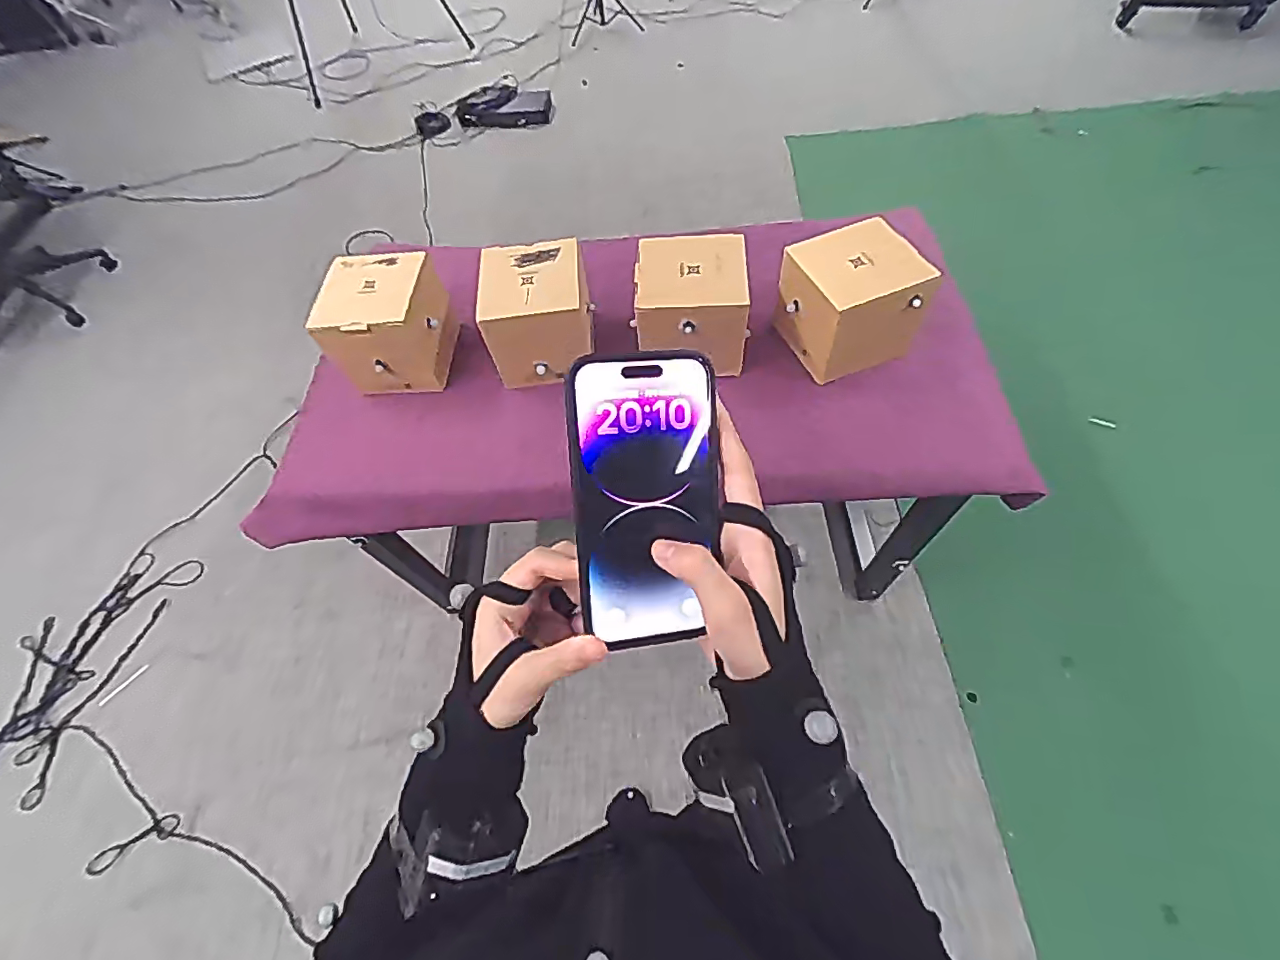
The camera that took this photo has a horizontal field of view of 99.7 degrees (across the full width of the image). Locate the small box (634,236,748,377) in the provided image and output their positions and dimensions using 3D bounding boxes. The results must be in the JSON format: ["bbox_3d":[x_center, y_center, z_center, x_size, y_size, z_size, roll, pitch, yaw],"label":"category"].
[{"bbox_3d":[0.089,-0.290,0.924,0.179,0.176,0.168,0,60,6],"label":"small box"}]

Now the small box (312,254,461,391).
[{"bbox_3d":[-0.437,-0.272,0.966,0.168,0.176,0.179,-2,60,4],"label":"small box"}]

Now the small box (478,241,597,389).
[{"bbox_3d":[-0.170,-0.285,0.947,0.168,0.176,0.179,-7,60,2],"label":"small box"}]

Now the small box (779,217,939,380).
[{"bbox_3d":[0.346,-0.295,0.900,0.179,0.176,0.168,-21,59,-7],"label":"small box"}]
